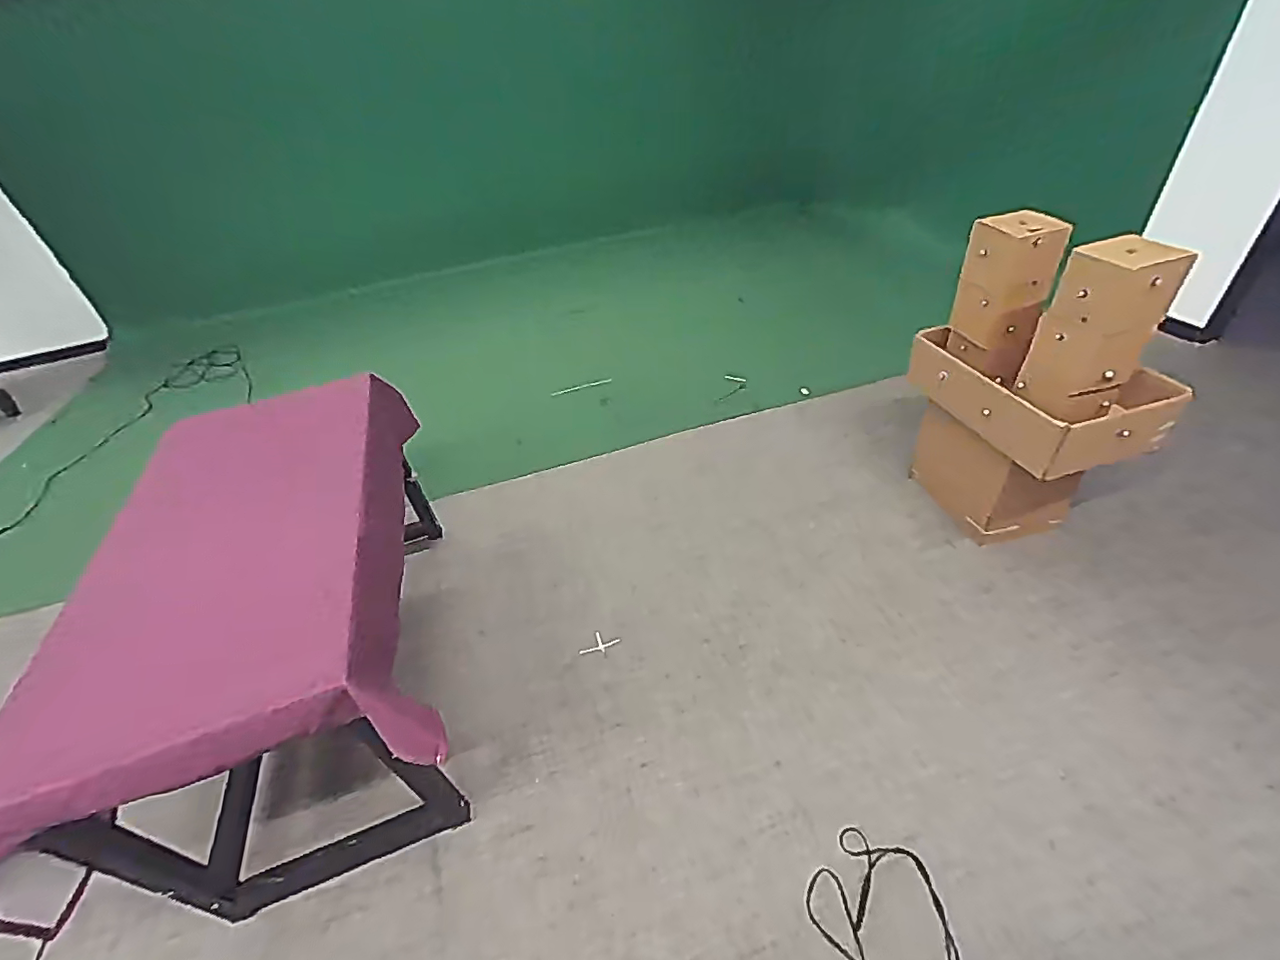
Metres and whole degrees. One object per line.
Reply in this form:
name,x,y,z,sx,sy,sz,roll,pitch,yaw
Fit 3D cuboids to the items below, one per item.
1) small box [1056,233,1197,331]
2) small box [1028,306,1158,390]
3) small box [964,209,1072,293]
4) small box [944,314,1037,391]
small box,1.170,-0.482,1.322,0.179,0.176,0.168,-14,41,-6
small box,1.184,-0.360,1.433,0.168,0.176,0.179,-13,41,-4
small box,1.072,-0.657,1.554,0.168,0.176,0.179,-14,40,-4
small box,1.134,-0.417,1.768,0.168,0.176,0.179,-14,41,-5
